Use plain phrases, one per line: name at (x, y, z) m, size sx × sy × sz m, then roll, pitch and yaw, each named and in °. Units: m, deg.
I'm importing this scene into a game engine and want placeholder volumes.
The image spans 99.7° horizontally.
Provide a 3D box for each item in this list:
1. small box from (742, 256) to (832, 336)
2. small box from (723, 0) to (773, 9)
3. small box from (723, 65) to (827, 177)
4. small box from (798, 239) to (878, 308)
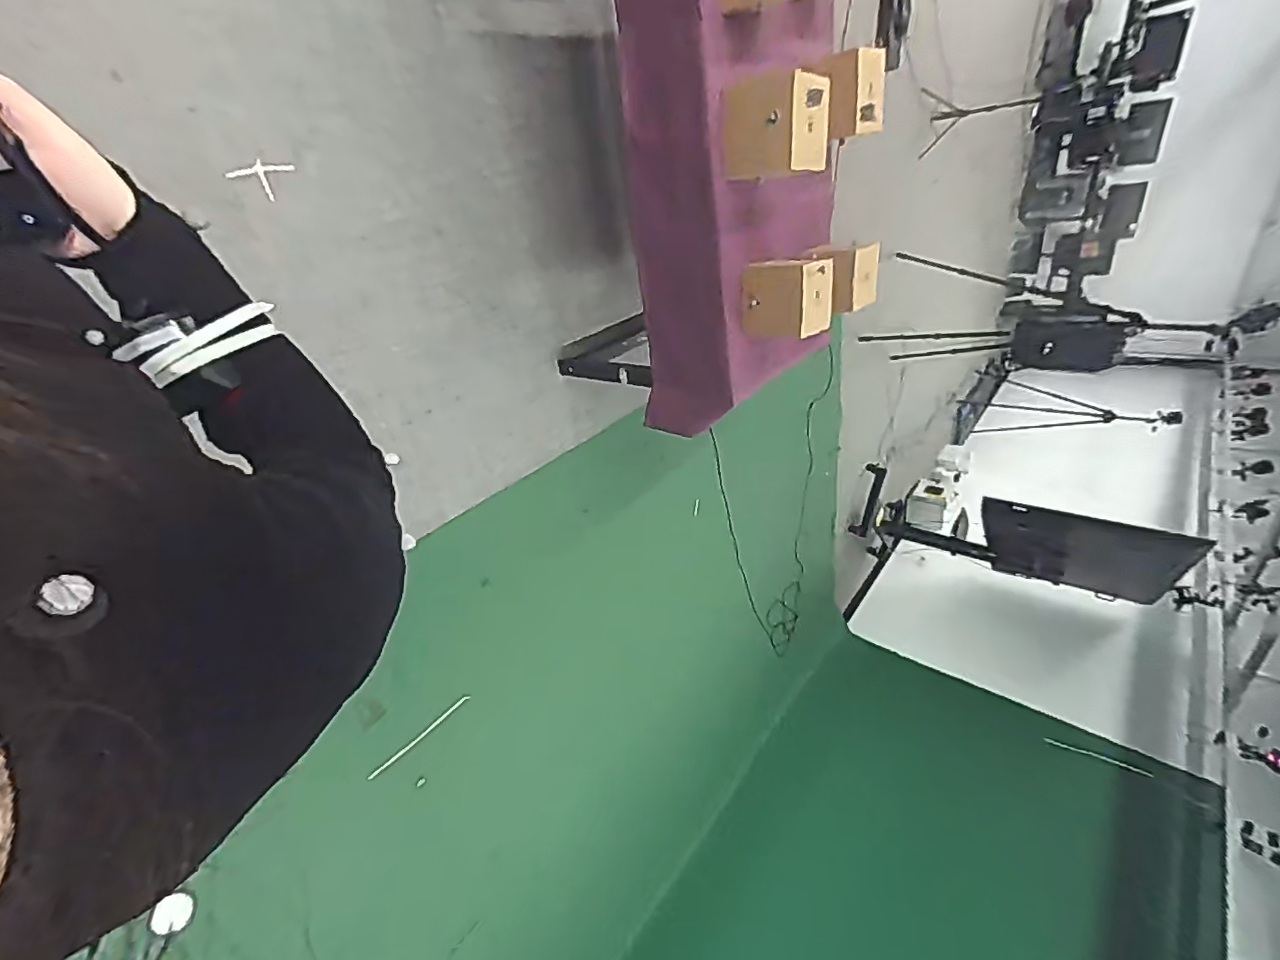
small box at (0.375, -0.481, 1.397) m, size 0.168 × 0.176 × 0.179 m, roll -29°, pitch 124°, yaw -42°
small box at (0.256, -1.057, 1.051) m, size 0.168 × 0.176 × 0.179 m, roll -42°, pitch 133°, yaw -34°
small box at (0.296, -0.782, 1.195) m, size 0.168 × 0.176 × 0.179 m, roll -30°, pitch 125°, yaw -41°
small box at (0.580, -0.612, 1.595) m, size 0.179 × 0.176 × 0.168 m, roll -32°, pitch 125°, yaw -39°
